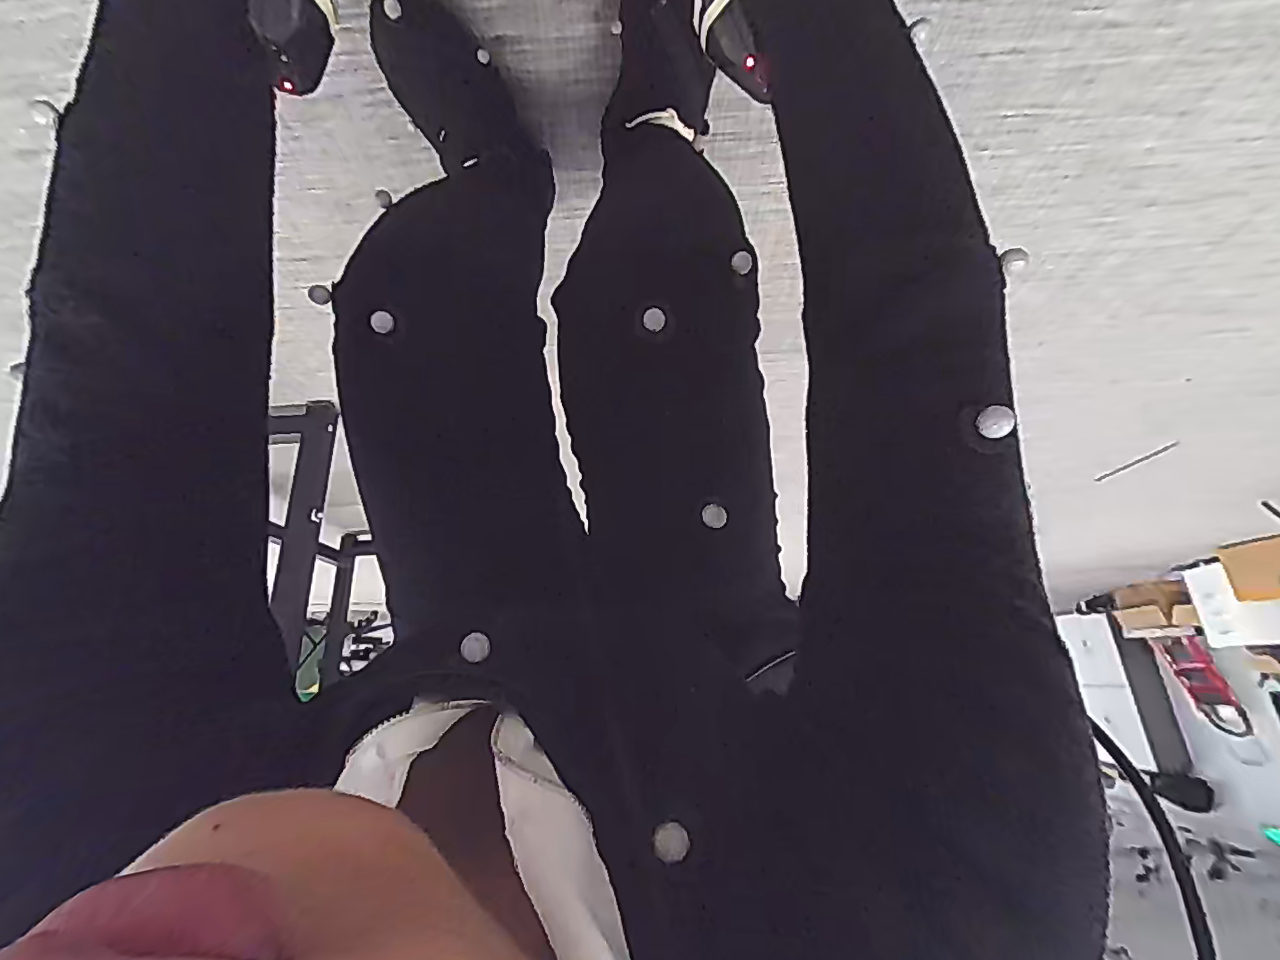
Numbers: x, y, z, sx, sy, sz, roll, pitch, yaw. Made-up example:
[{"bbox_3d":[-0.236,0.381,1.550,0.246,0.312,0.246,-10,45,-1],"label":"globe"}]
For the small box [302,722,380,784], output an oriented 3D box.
[{"bbox_3d":[-0.988,0.904,1.805,0.179,0.176,0.168,-2,158,-2],"label":"small box"}]
